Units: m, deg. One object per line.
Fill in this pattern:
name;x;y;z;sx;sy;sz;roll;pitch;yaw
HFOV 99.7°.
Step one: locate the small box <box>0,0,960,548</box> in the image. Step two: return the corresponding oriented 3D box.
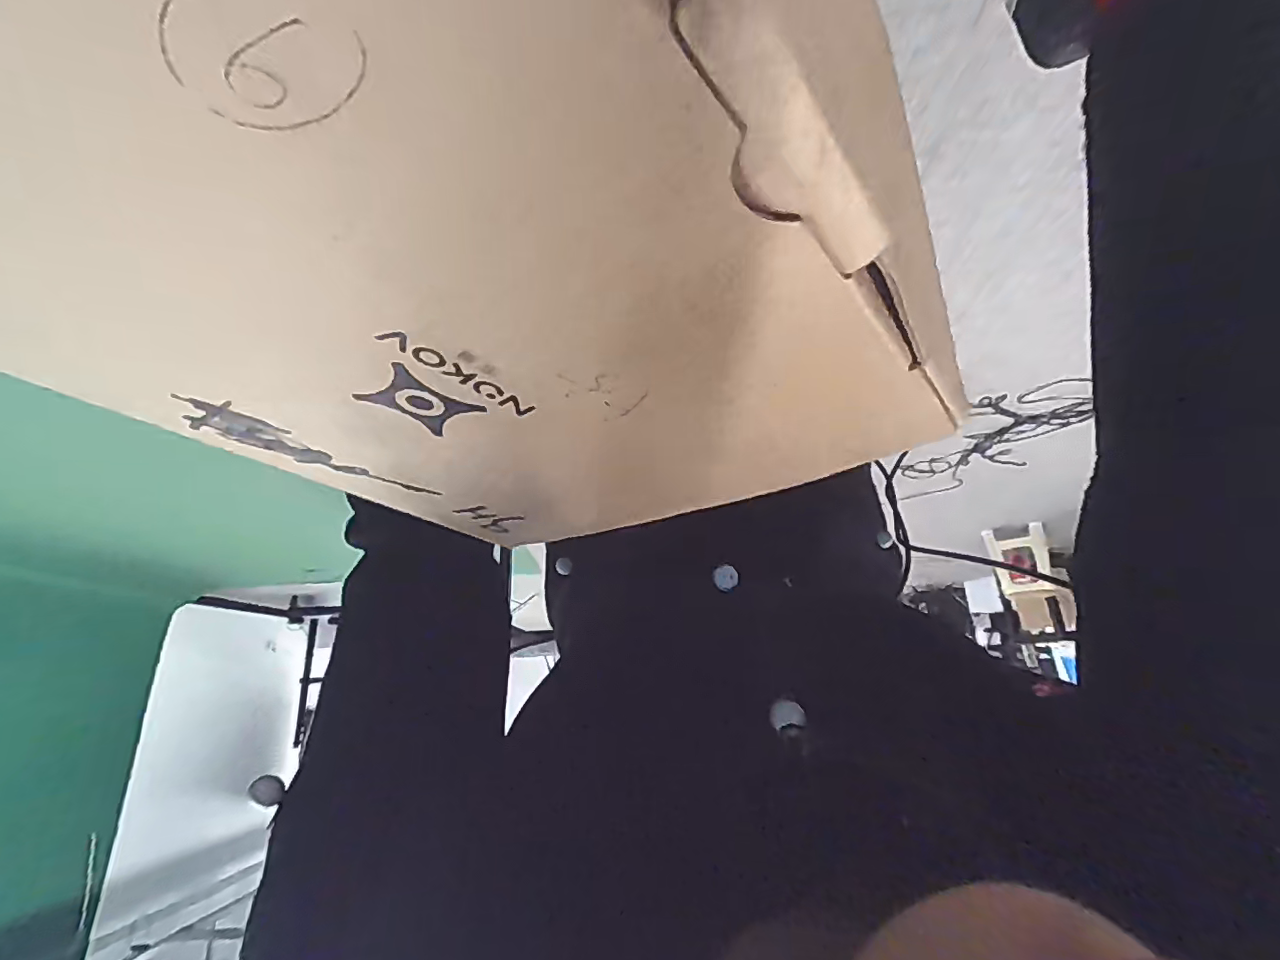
small box;-0.039;-0.095;0.157;0.179;0.176;0.168;-18;146;38
